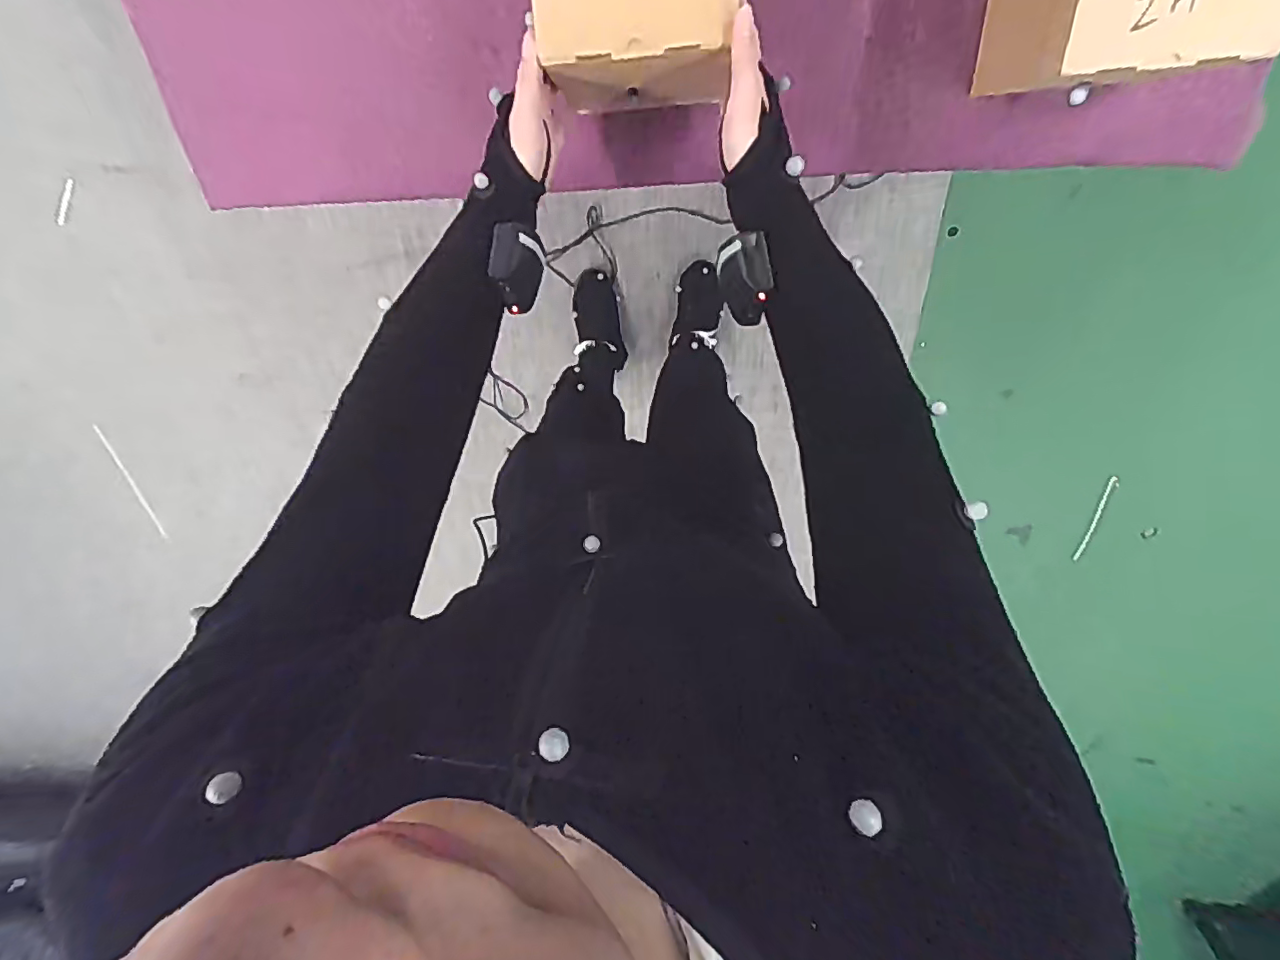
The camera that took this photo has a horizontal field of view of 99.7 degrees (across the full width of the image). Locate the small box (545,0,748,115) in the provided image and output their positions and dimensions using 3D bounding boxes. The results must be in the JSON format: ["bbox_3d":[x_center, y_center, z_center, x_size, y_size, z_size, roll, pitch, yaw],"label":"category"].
[{"bbox_3d":[0.005,-0.448,0.486,0.168,0.176,0.179,-2,118,3],"label":"small box"}]

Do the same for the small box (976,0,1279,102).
[{"bbox_3d":[0.425,-0.441,0.465,0.168,0.176,0.179,-1,123,6],"label":"small box"}]
